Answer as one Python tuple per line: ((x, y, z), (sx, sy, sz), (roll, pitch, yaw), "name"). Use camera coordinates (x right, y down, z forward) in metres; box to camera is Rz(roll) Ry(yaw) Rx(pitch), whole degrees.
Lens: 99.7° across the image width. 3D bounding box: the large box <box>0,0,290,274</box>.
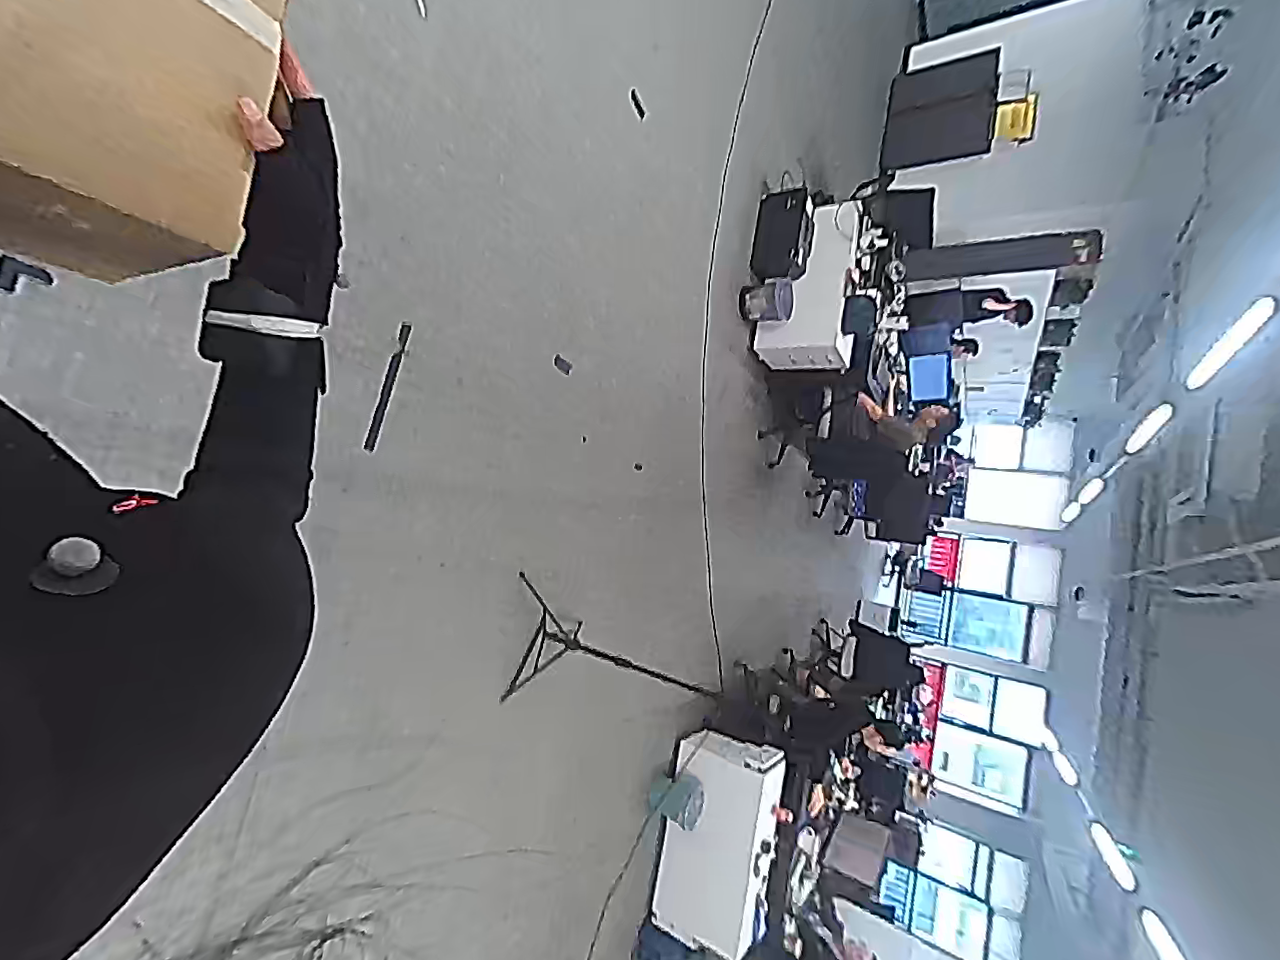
((-0.498, -0.362, 0.316), (0.408, 0.320, 0.320), (14, 87, -57), "large box")
